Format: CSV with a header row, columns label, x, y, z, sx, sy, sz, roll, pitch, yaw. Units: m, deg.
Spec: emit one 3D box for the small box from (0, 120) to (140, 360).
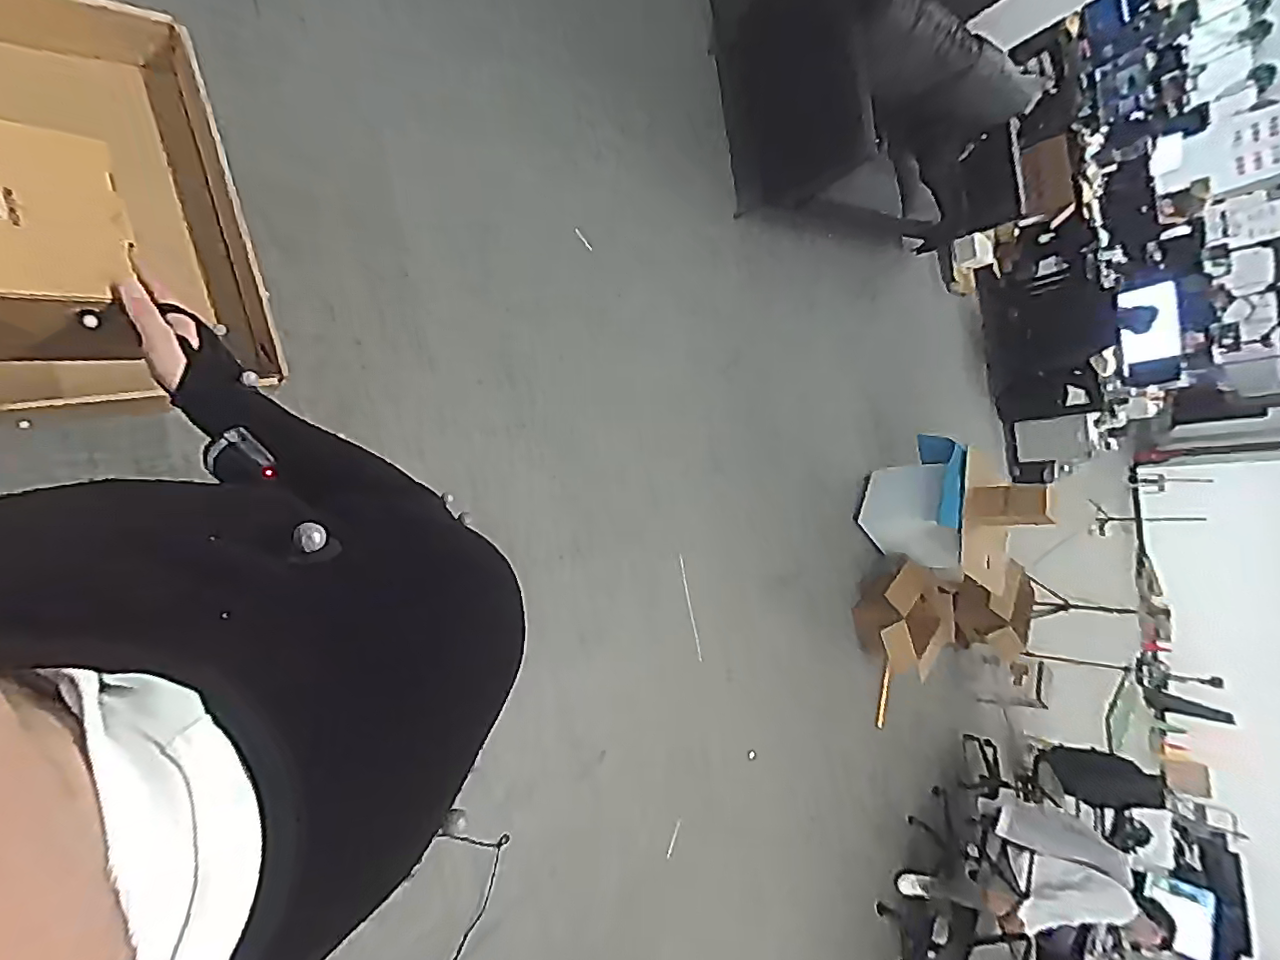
label,x,y,z,sx,sy,sz,roll,pitch,yaw
small box,-0.614,-0.220,0.519,0.179,0.176,0.168,-13,89,-44
